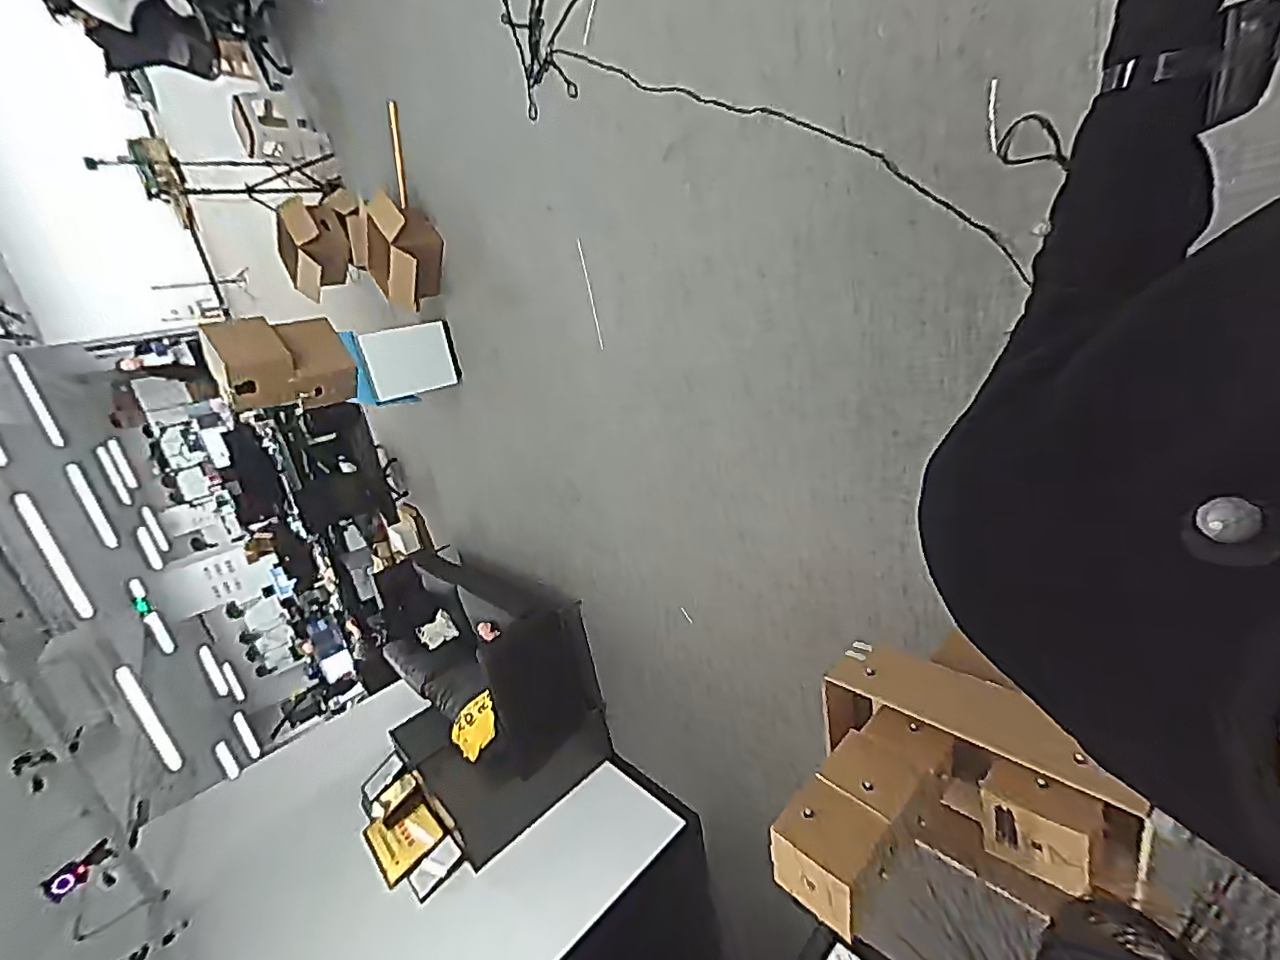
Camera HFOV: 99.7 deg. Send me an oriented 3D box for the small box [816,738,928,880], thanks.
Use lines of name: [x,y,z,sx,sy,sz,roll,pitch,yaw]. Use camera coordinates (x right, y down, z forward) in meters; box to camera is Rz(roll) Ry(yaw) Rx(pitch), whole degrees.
small box: [0.514,0.713,1.197,0.179,0.176,0.168,16,120,47]

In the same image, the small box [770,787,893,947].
small box: [0.390,0.773,1.108,0.179,0.176,0.168,15,120,47]

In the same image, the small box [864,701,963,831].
small box: [0.645,0.666,1.284,0.168,0.176,0.179,17,122,46]
